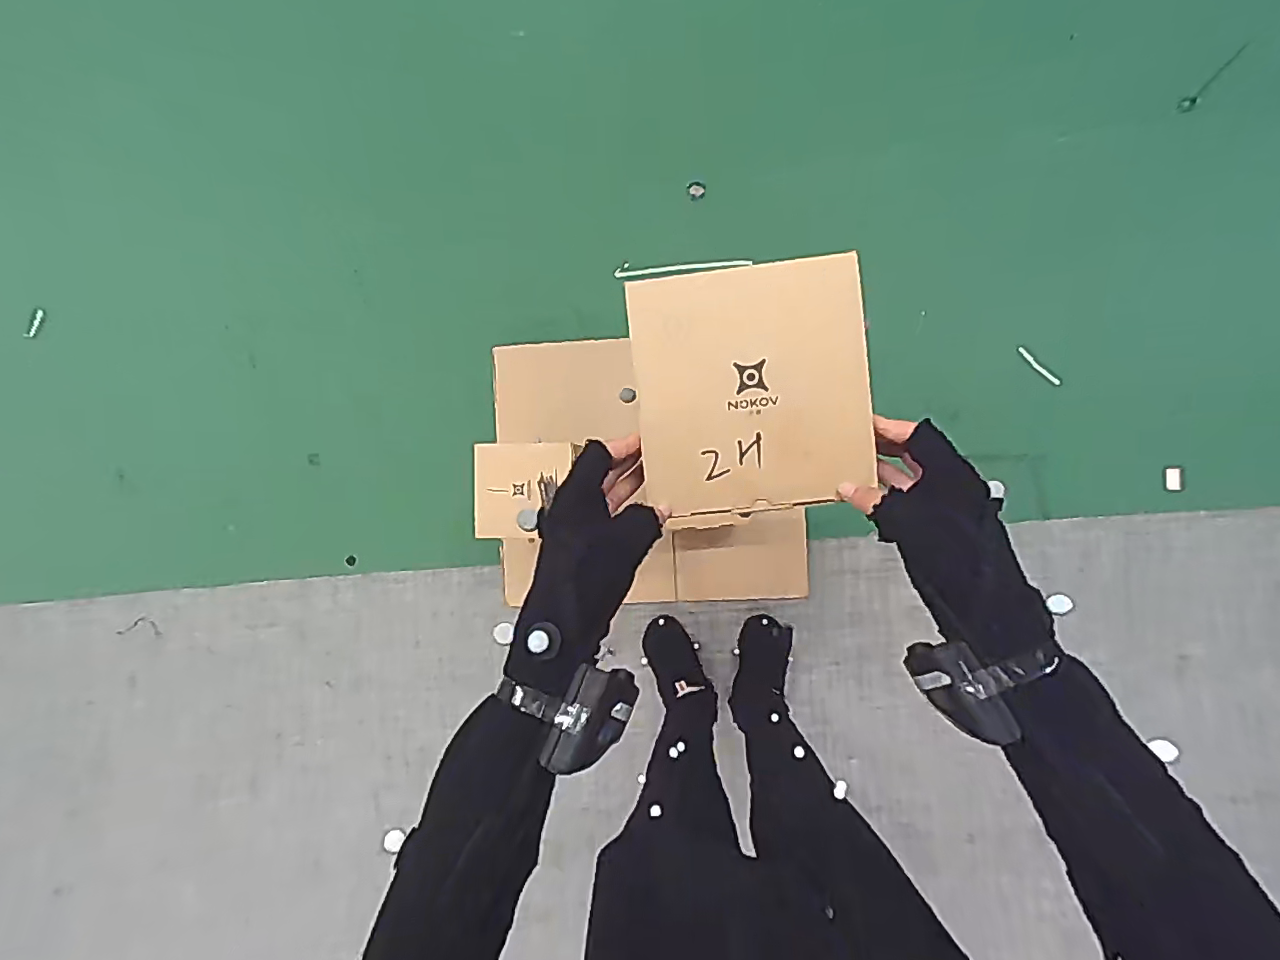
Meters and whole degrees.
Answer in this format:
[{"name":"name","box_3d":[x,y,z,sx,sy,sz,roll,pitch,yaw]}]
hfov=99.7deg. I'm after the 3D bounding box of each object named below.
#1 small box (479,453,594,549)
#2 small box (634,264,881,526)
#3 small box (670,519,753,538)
[{"name":"small box","box_3d":[-0.183,0.035,1.002,0.179,0.176,0.168,0,88,6]},{"name":"small box","box_3d":[0.088,-0.060,0.465,0.168,0.176,0.179,-6,92,5]},{"name":"small box","box_3d":[0.141,0.026,1.147,0.168,0.176,0.179,-5,89,4]}]
